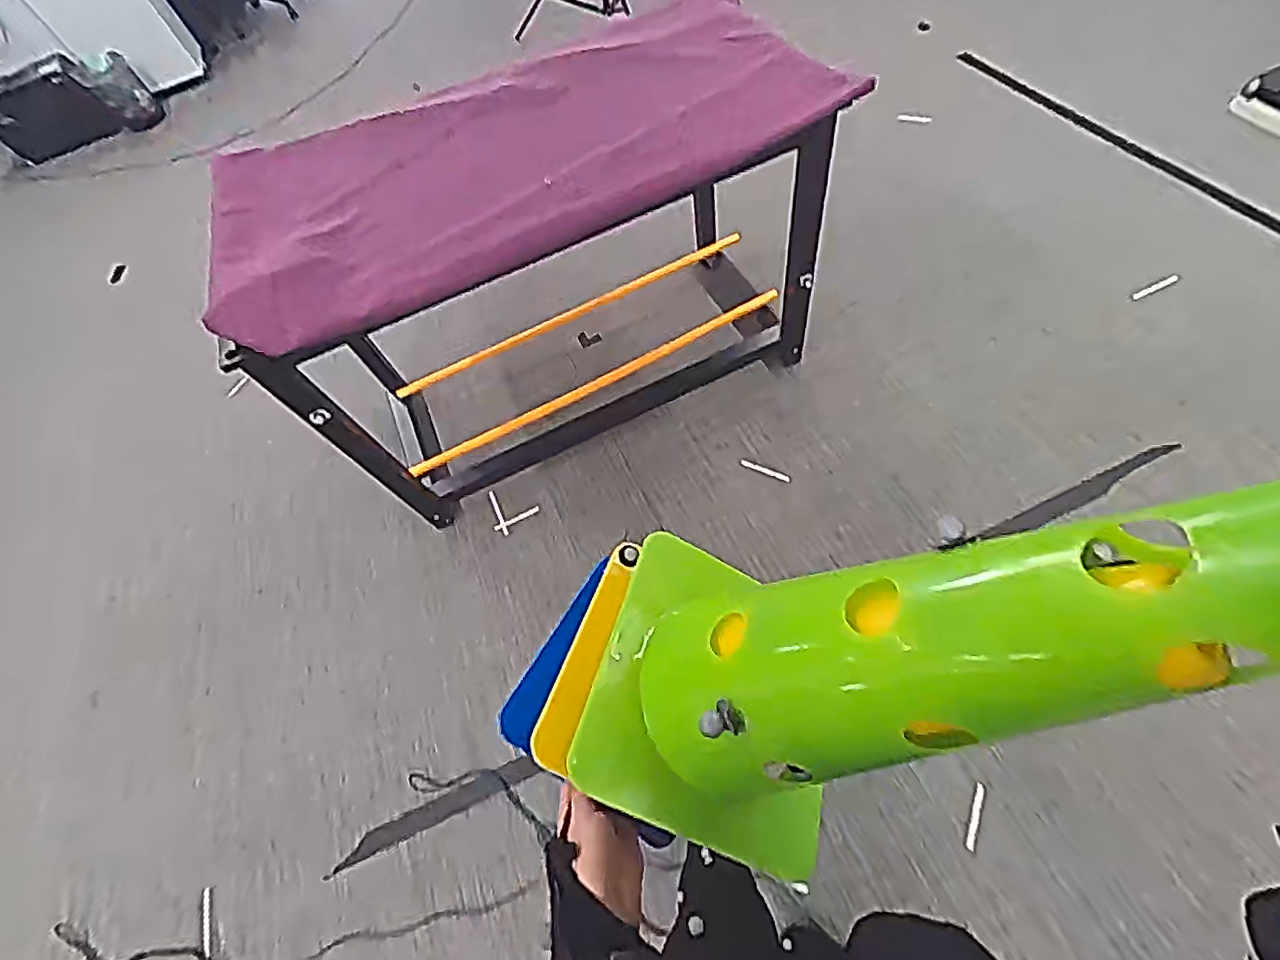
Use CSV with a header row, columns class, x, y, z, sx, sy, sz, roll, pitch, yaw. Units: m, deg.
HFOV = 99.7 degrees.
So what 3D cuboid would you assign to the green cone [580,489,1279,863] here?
class,x,y,z,sx,sy,sz,roll,pitch,yaw
green cone,0.142,0.075,0.269,0.200,0.368,0.202,30,55,-11
